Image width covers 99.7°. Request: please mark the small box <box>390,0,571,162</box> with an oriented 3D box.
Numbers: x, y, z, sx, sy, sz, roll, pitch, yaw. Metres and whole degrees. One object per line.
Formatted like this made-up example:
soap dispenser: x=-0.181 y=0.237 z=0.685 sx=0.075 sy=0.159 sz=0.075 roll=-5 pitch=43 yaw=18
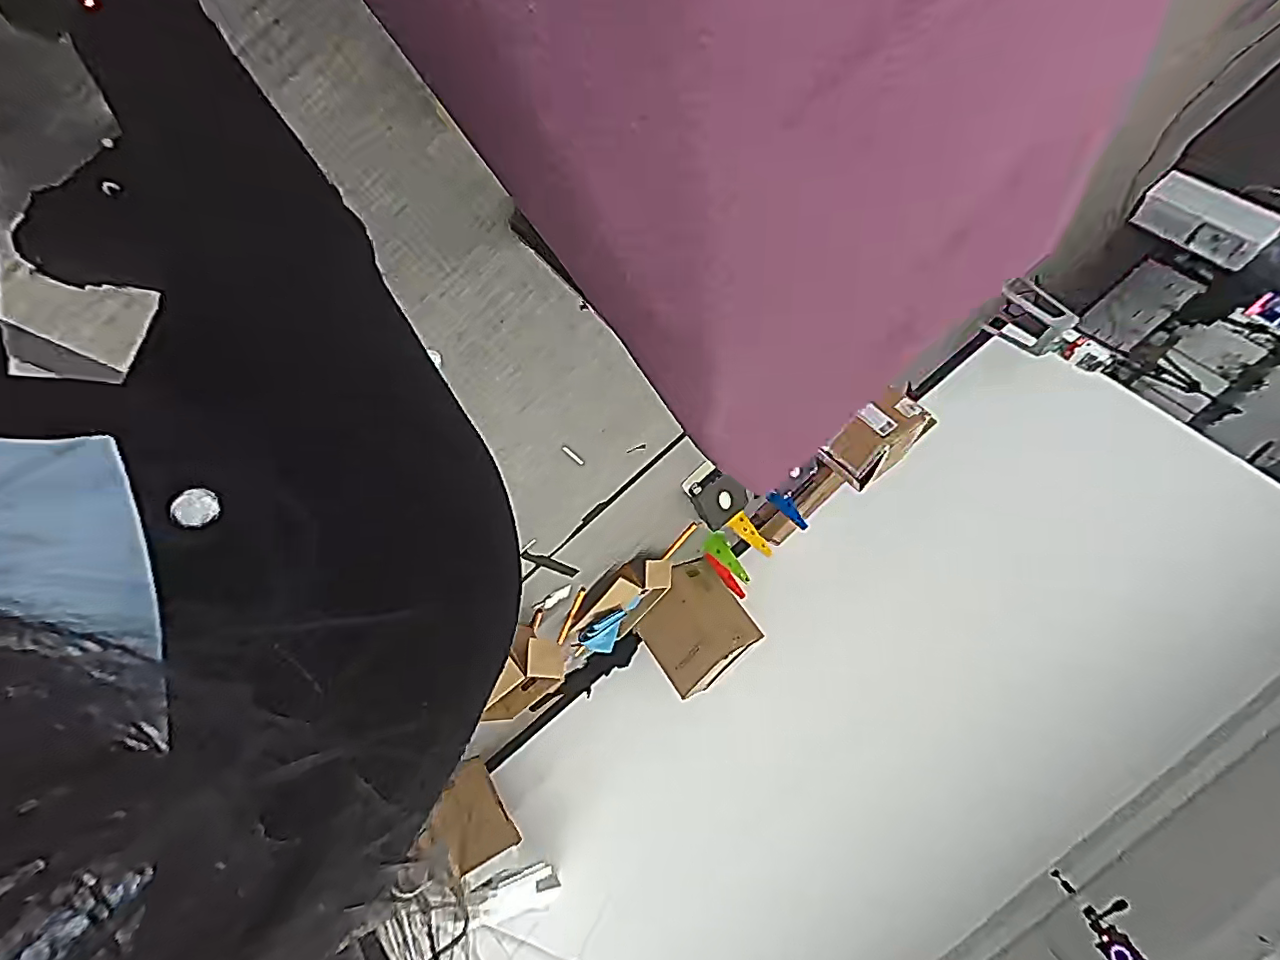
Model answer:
small box: x=-0.240 y=-0.628 z=0.805 sx=0.179 sy=0.176 sz=0.168 roll=-41 pitch=154 yaw=-2
